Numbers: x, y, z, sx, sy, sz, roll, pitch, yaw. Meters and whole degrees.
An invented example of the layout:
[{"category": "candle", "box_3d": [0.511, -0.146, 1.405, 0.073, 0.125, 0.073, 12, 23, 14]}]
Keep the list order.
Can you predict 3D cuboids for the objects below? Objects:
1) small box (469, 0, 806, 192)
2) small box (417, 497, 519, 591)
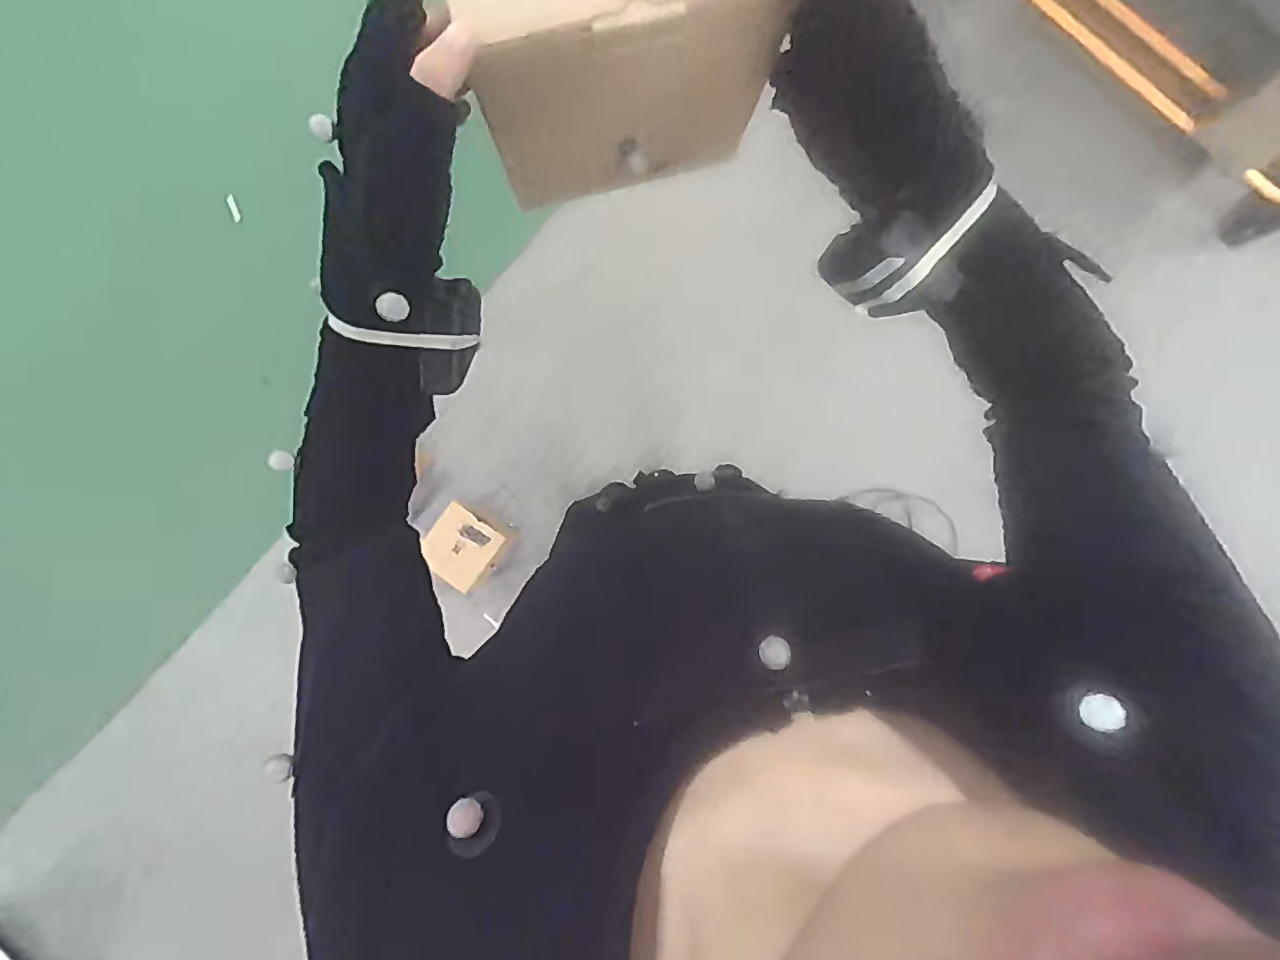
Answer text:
[{"category": "small box", "box_3d": [-0.017, -0.308, 0.317, 0.168, 0.176, 0.179, -13, 94, -1]}, {"category": "small box", "box_3d": [-0.436, 0.157, 1.409, 0.168, 0.176, 0.179, 36, 90, 1]}]
